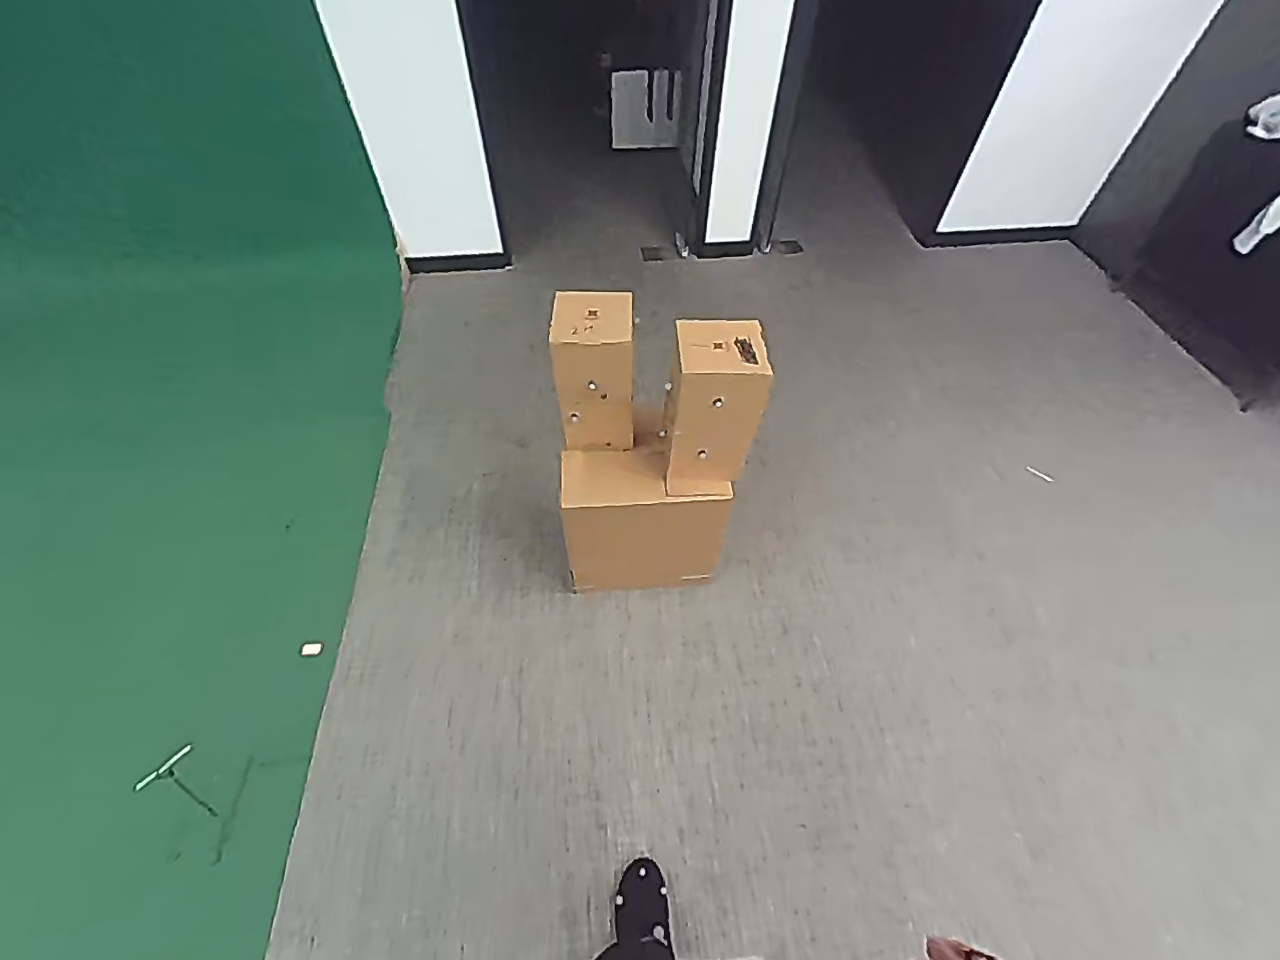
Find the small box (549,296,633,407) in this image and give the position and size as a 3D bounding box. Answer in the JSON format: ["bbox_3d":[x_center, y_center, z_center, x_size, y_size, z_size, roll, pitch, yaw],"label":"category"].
[{"bbox_3d":[-0.100,-0.282,1.190,0.168,0.176,0.179,0,53,1],"label":"small box"}]

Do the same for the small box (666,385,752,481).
[{"bbox_3d":[0.152,-0.109,1.264,0.179,0.176,0.168,-2,55,-2],"label":"small box"}]

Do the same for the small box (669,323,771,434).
[{"bbox_3d":[0.159,-0.209,1.135,0.179,0.176,0.168,-1,53,-2],"label":"small box"}]
